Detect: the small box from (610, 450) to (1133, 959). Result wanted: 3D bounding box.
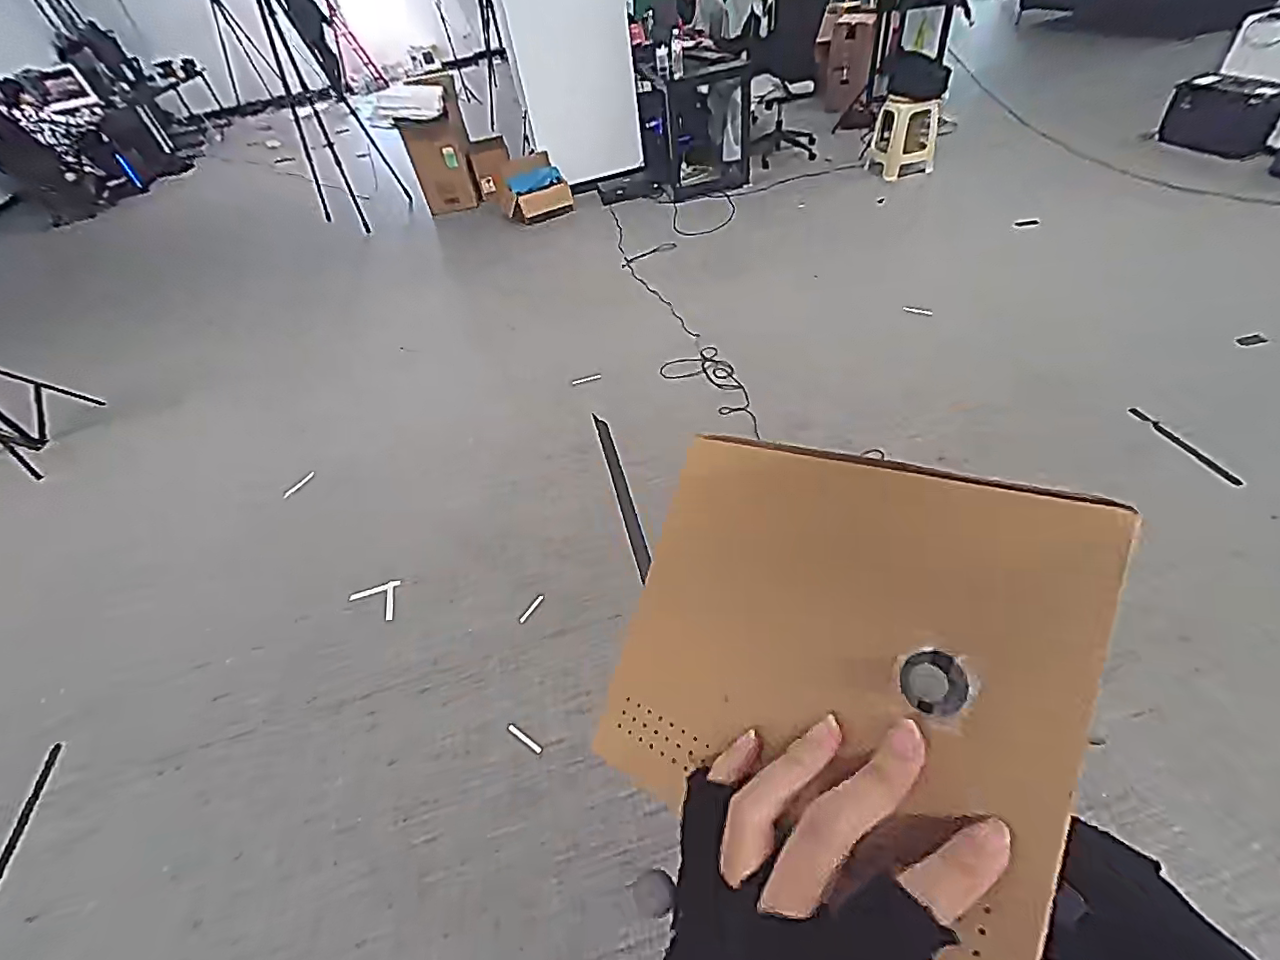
[{"bbox_3d":[0.115,0.100,0.283,0.179,0.168,0.176,13,81,38],"label":"small box"}]
